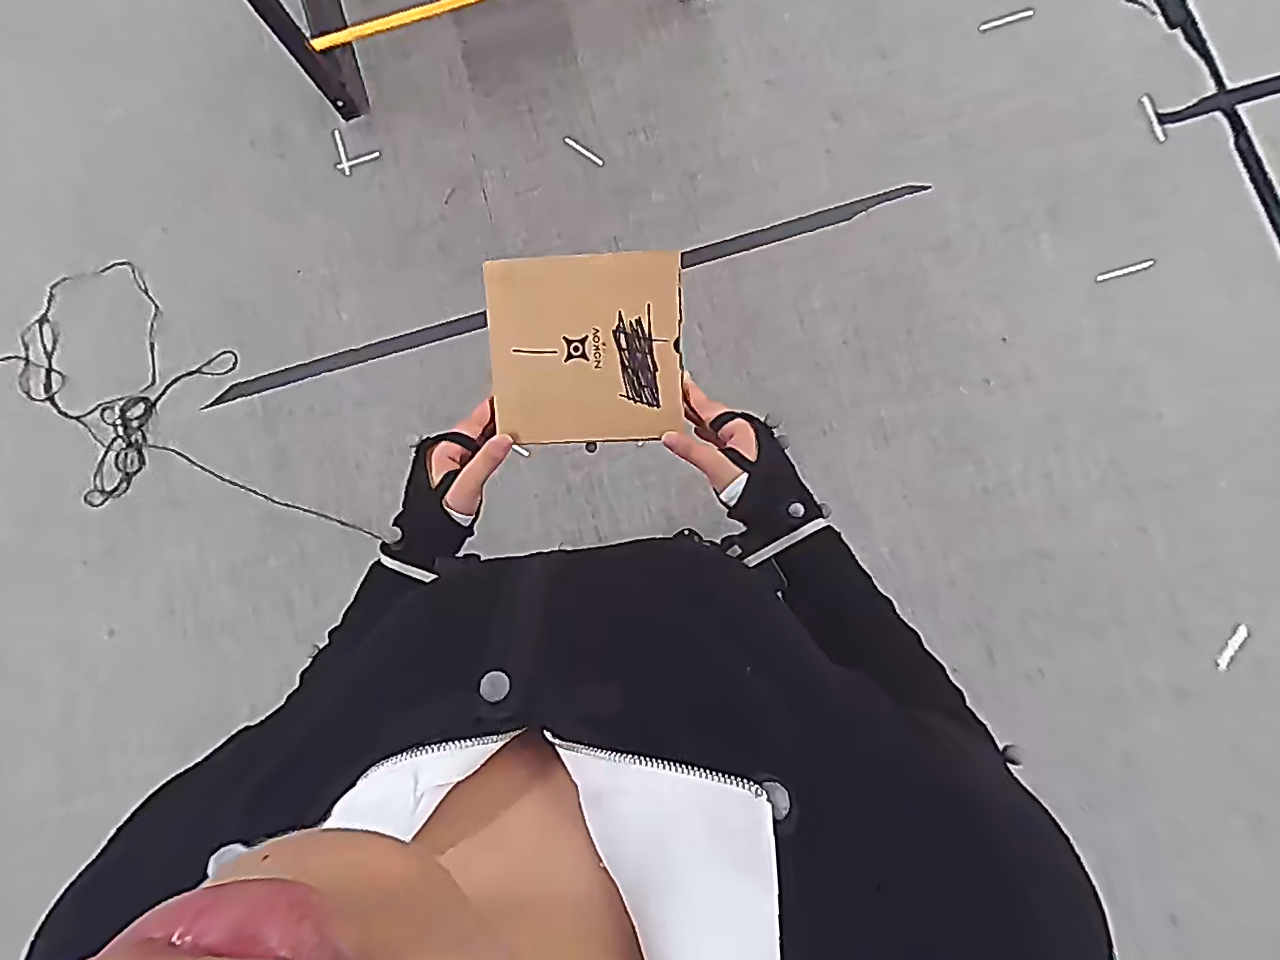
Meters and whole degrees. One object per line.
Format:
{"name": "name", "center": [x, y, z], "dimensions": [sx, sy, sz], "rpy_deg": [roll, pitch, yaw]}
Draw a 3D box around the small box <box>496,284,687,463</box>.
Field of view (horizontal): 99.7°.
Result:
{"name": "small box", "center": [-0.043, -0.110, 0.584], "dimensions": [0.179, 0.176, 0.168], "rpy_deg": [-1, 98, 2]}
